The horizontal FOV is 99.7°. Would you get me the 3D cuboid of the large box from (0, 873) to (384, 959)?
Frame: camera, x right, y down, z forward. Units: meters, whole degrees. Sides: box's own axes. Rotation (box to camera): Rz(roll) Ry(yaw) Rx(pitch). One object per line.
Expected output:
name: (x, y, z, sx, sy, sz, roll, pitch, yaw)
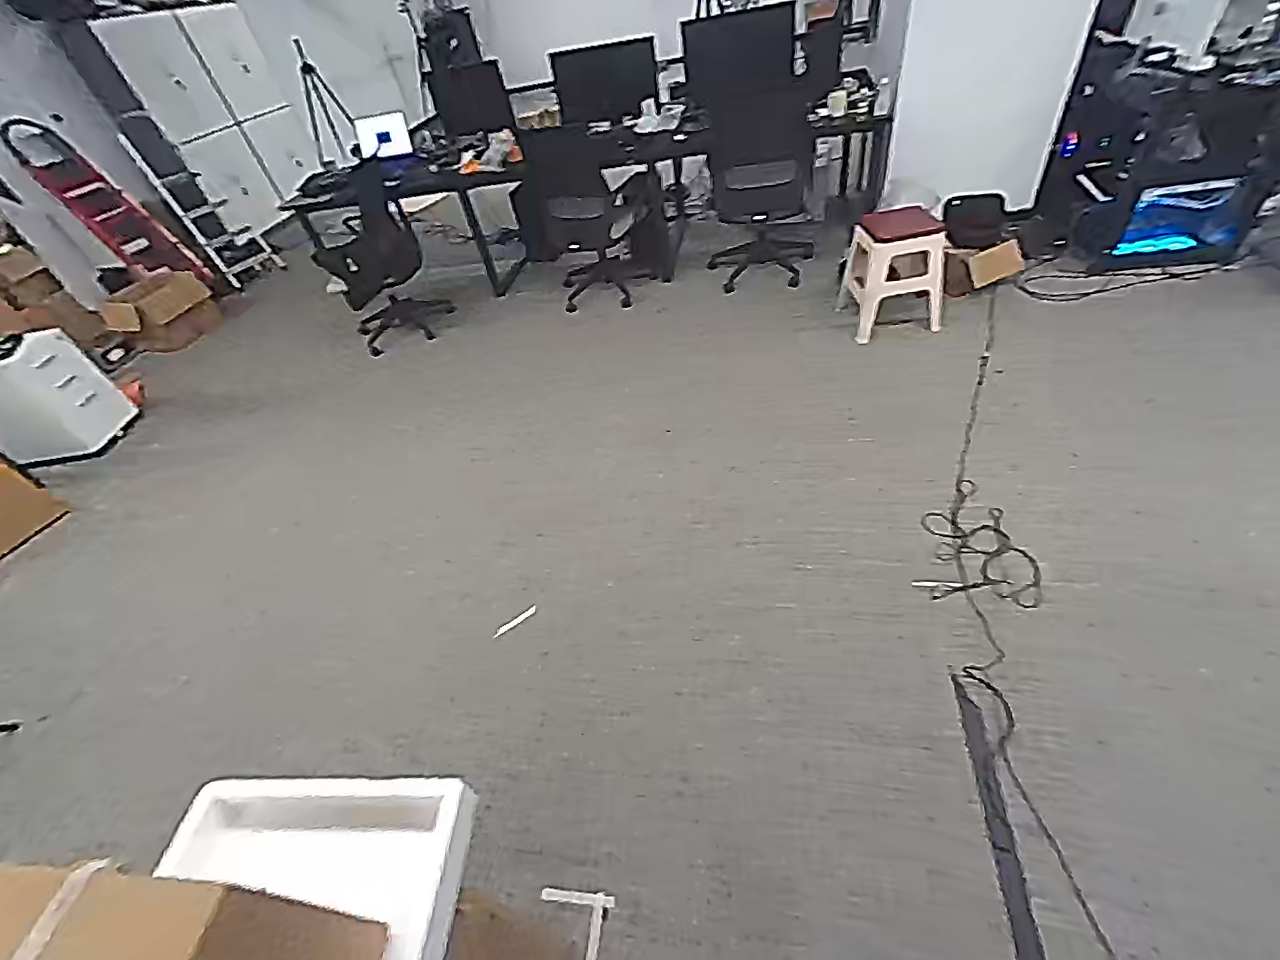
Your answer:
large box: (-0.506, 0.622, 0.483, 0.320, 0.320, 0.408, -5, 46, 10)
